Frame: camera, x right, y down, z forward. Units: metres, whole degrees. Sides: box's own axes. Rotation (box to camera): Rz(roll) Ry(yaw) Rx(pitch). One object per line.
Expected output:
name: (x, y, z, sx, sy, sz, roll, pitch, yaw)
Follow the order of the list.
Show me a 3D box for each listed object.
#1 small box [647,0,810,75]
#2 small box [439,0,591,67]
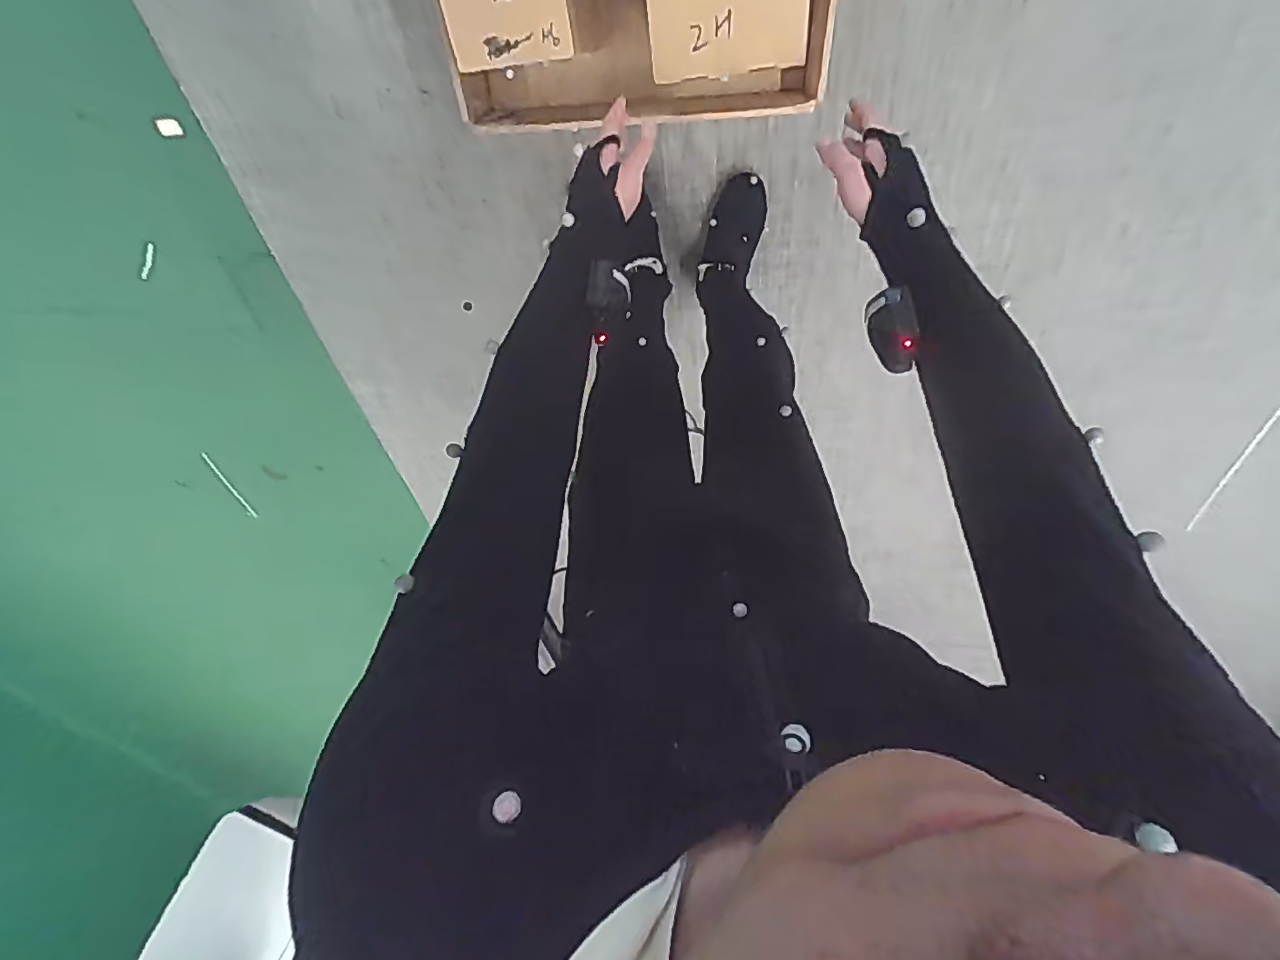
small box: (0.091, -0.561, 0.583, 0.168, 0.176, 0.179, -2, 131, 9)
small box: (-0.169, -0.677, 0.728, 0.168, 0.176, 0.179, -1, 130, 8)
